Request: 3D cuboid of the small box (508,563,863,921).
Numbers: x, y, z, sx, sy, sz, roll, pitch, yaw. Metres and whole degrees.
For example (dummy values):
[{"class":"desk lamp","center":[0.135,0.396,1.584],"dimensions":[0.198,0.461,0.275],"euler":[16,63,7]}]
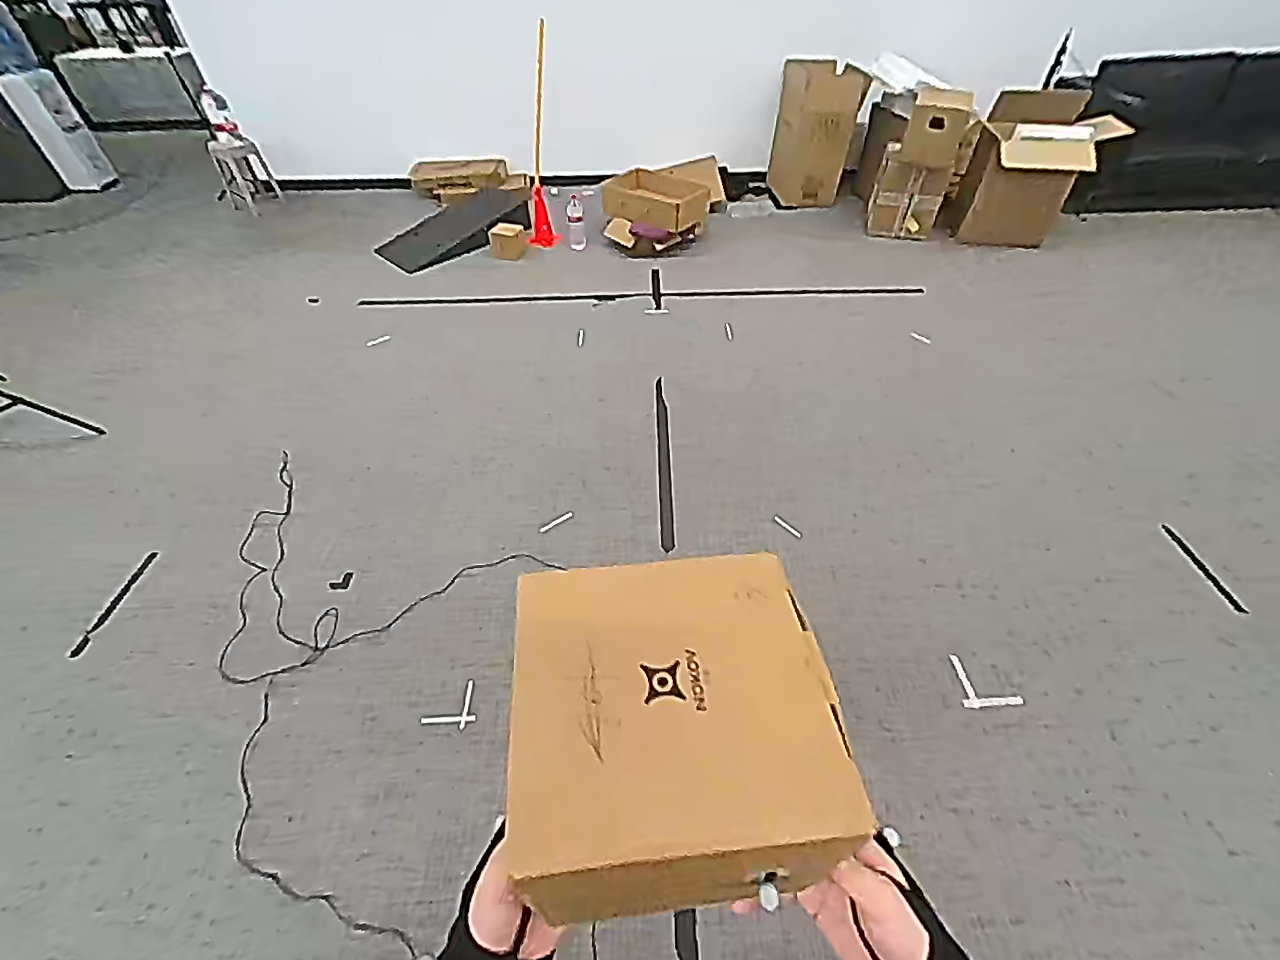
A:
[{"class":"small box","center":[0.016,0.178,0.368],"dimensions":[0.179,0.176,0.168],"euler":[-5,45,-5]}]
